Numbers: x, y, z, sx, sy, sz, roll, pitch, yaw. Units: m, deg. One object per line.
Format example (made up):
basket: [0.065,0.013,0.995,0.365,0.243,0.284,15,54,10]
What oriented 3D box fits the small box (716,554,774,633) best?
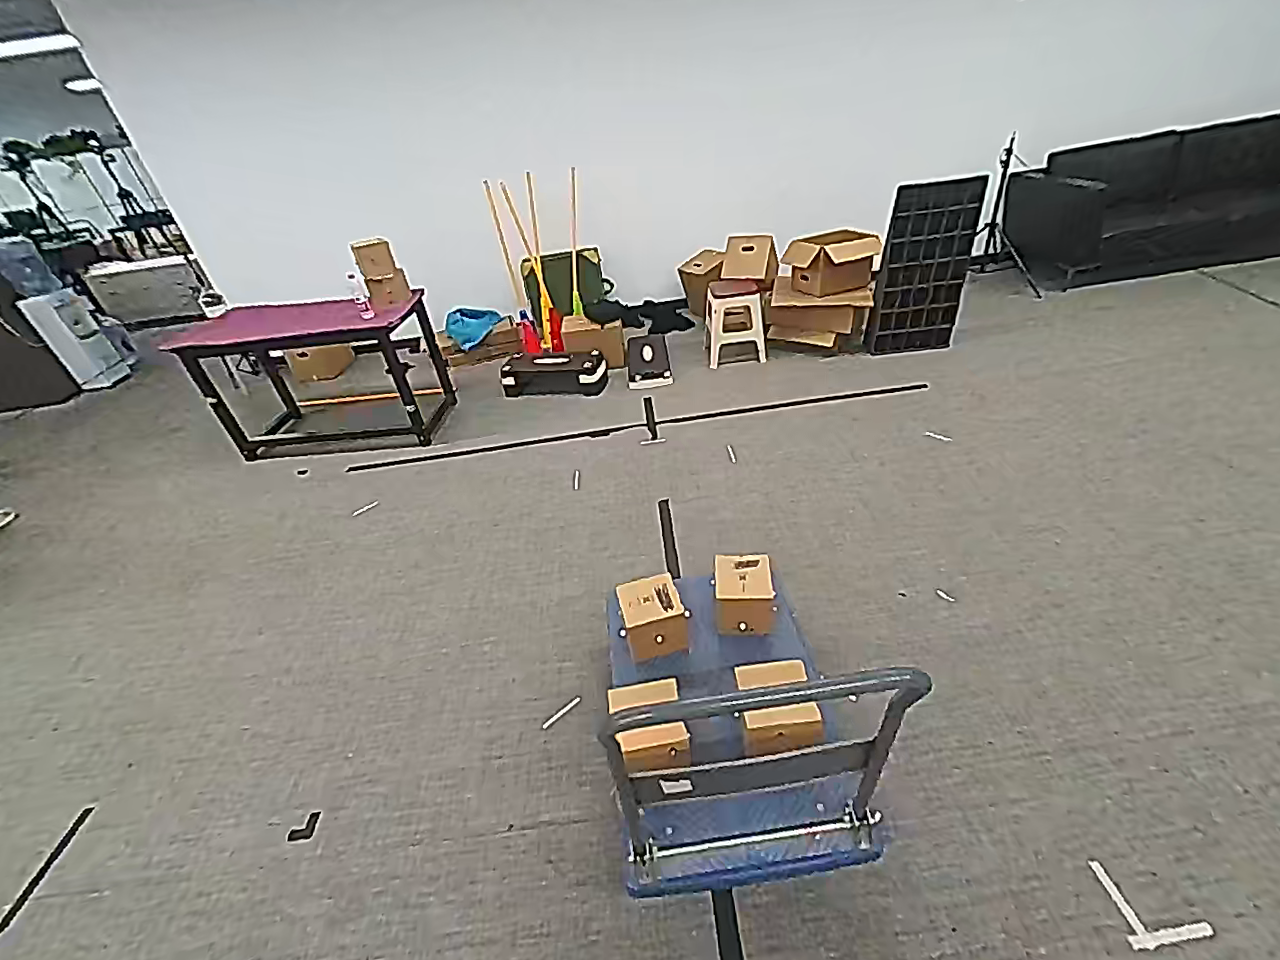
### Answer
small box: [0.316,0.347,1.658,0.168,0.176,0.179,-2,38,8]

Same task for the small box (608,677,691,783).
small box: [0.025,0.623,1.343,0.179,0.176,0.168,-9,36,-4]

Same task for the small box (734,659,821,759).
small box: [0.337,0.573,1.346,0.179,0.176,0.168,-7,36,2]
